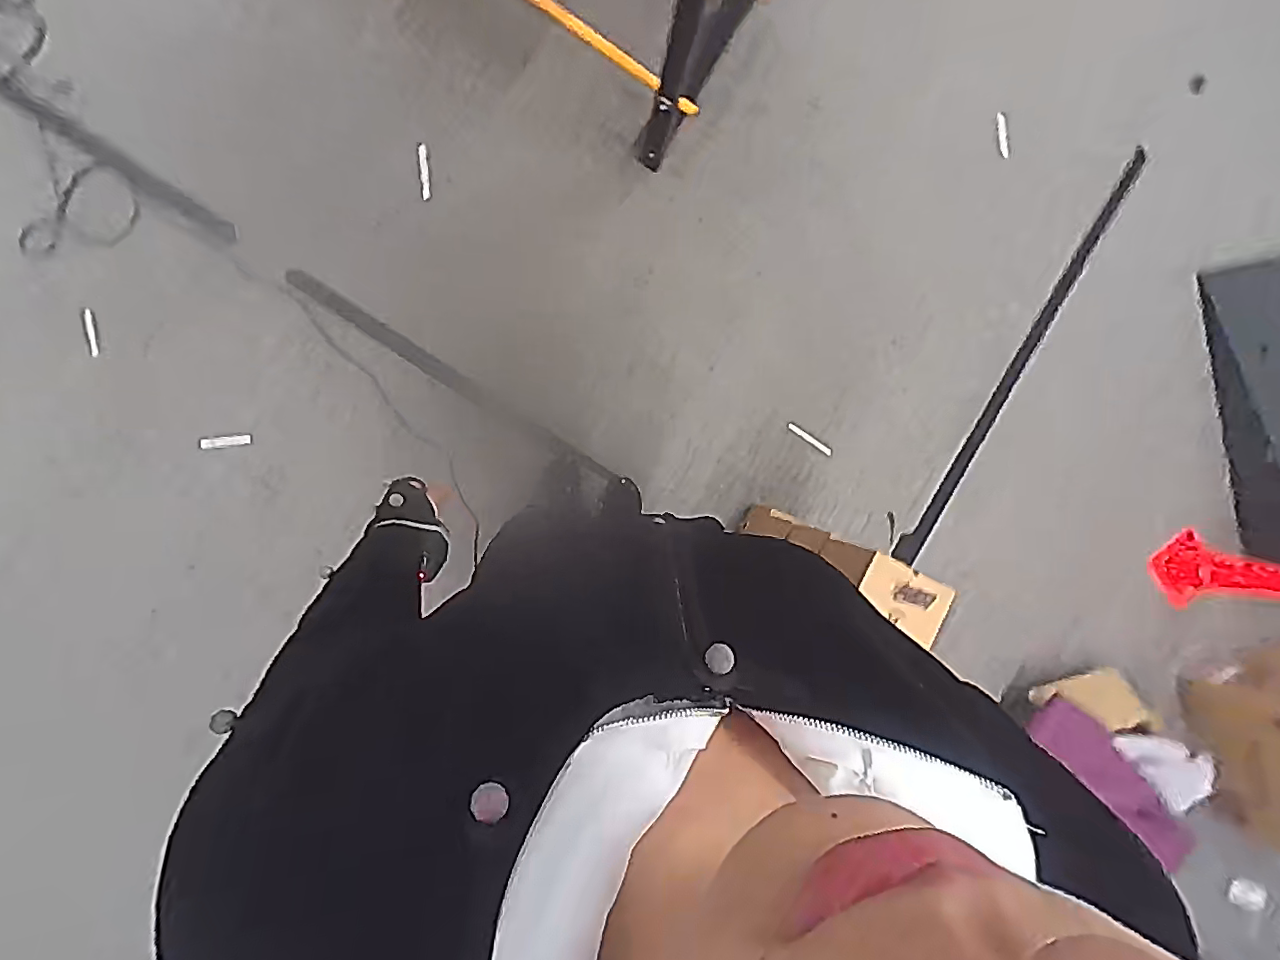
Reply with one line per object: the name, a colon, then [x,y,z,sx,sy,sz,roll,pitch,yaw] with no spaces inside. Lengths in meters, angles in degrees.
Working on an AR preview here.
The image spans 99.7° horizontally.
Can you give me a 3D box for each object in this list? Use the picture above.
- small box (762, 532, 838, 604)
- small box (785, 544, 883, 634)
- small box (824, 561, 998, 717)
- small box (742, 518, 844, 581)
small box: [0.404,0.227,1.236,0.179,0.176,0.168,25,88,-7]
small box: [0.424,0.241,1.073,0.179,0.176,0.168,30,87,-7]
small box: [0.441,0.255,0.909,0.168,0.176,0.179,26,89,-8]
small box: [0.393,0.206,1.400,0.179,0.176,0.168,26,88,-6]
